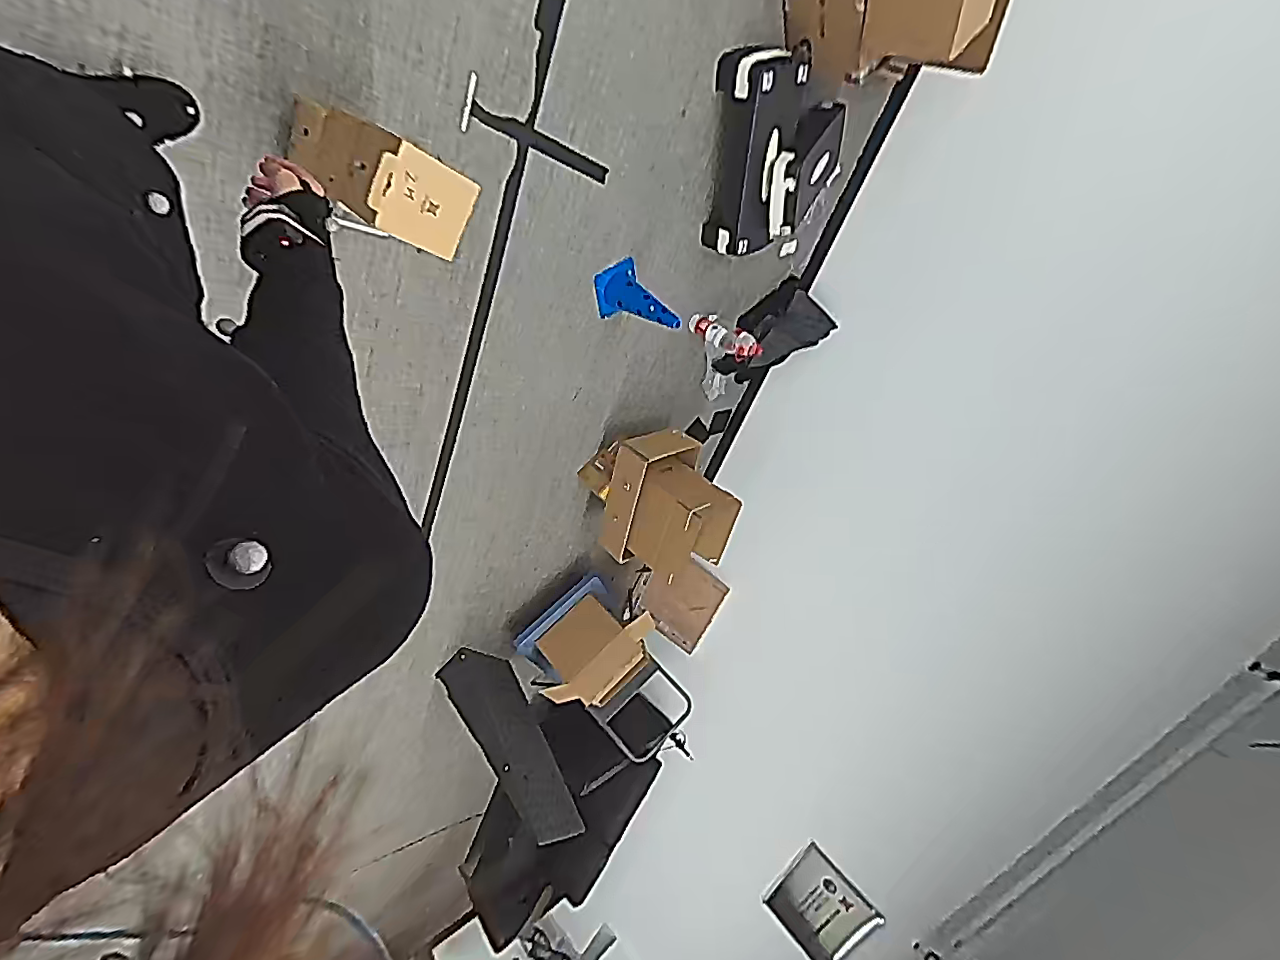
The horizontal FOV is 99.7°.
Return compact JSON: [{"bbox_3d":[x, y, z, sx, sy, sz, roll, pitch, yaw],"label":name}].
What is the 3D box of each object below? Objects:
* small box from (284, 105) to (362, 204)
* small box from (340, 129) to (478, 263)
[{"bbox_3d":[-0.704,-0.746,1.267,0.179,0.176,0.168,-2,124,-51],"label":"small box"},{"bbox_3d":[-0.472,-0.578,1.102,0.179,0.176,0.168,6,118,-54],"label":"small box"}]
